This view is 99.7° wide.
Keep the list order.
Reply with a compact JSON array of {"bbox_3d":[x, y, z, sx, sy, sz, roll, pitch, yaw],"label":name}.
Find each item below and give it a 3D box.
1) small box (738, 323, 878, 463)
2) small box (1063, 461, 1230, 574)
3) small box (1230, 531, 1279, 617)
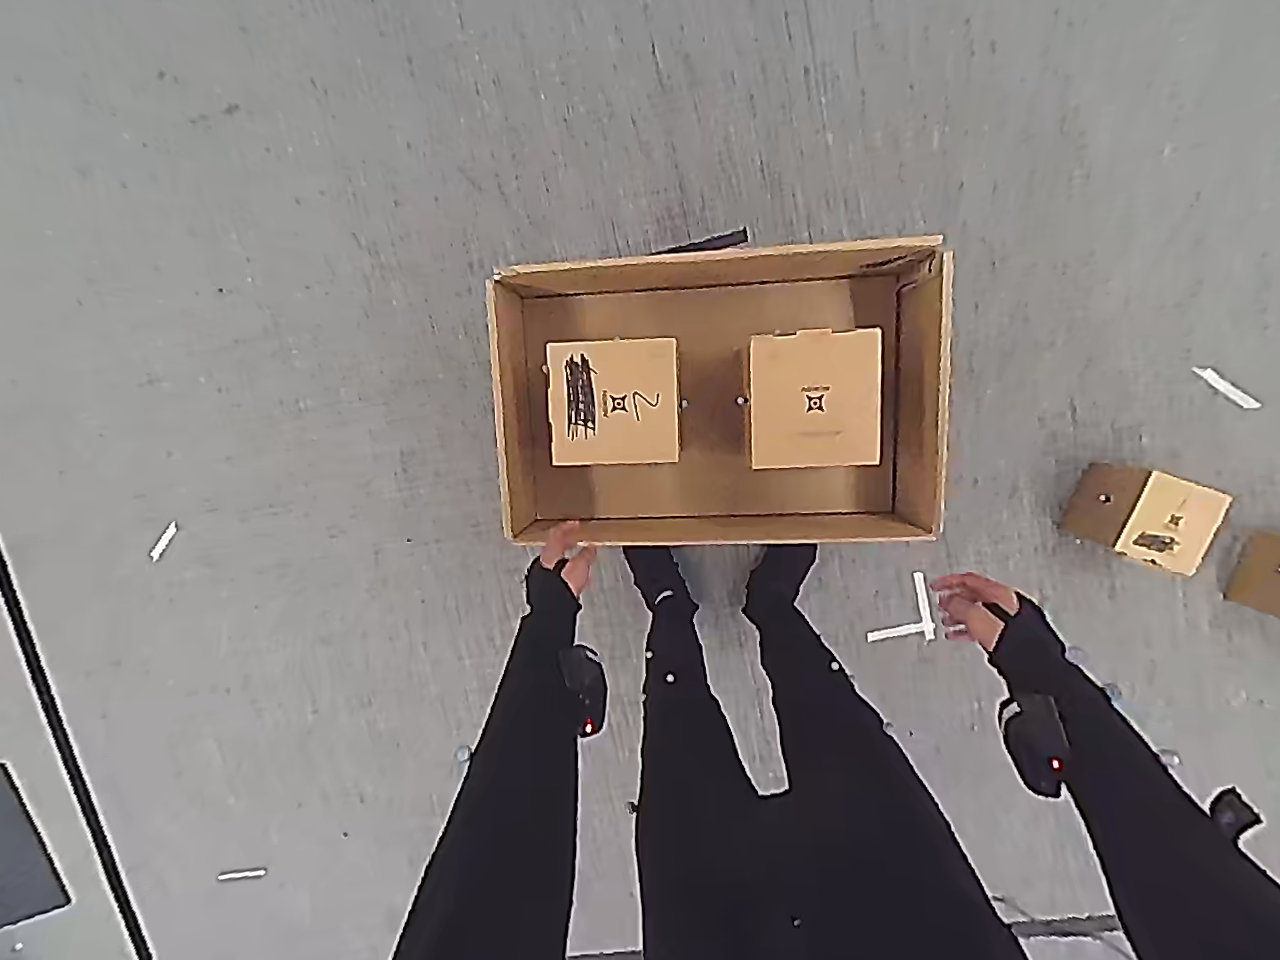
[{"bbox_3d":[0.230,-0.118,0.777,0.168,0.176,0.179,-2,96,7],"label":"small box"},{"bbox_3d":[1.060,0.072,1.153,0.168,0.176,0.179,20,99,2],"label":"small box"},{"bbox_3d":[1.428,0.219,1.140,0.168,0.176,0.179,13,98,4],"label":"small box"}]
